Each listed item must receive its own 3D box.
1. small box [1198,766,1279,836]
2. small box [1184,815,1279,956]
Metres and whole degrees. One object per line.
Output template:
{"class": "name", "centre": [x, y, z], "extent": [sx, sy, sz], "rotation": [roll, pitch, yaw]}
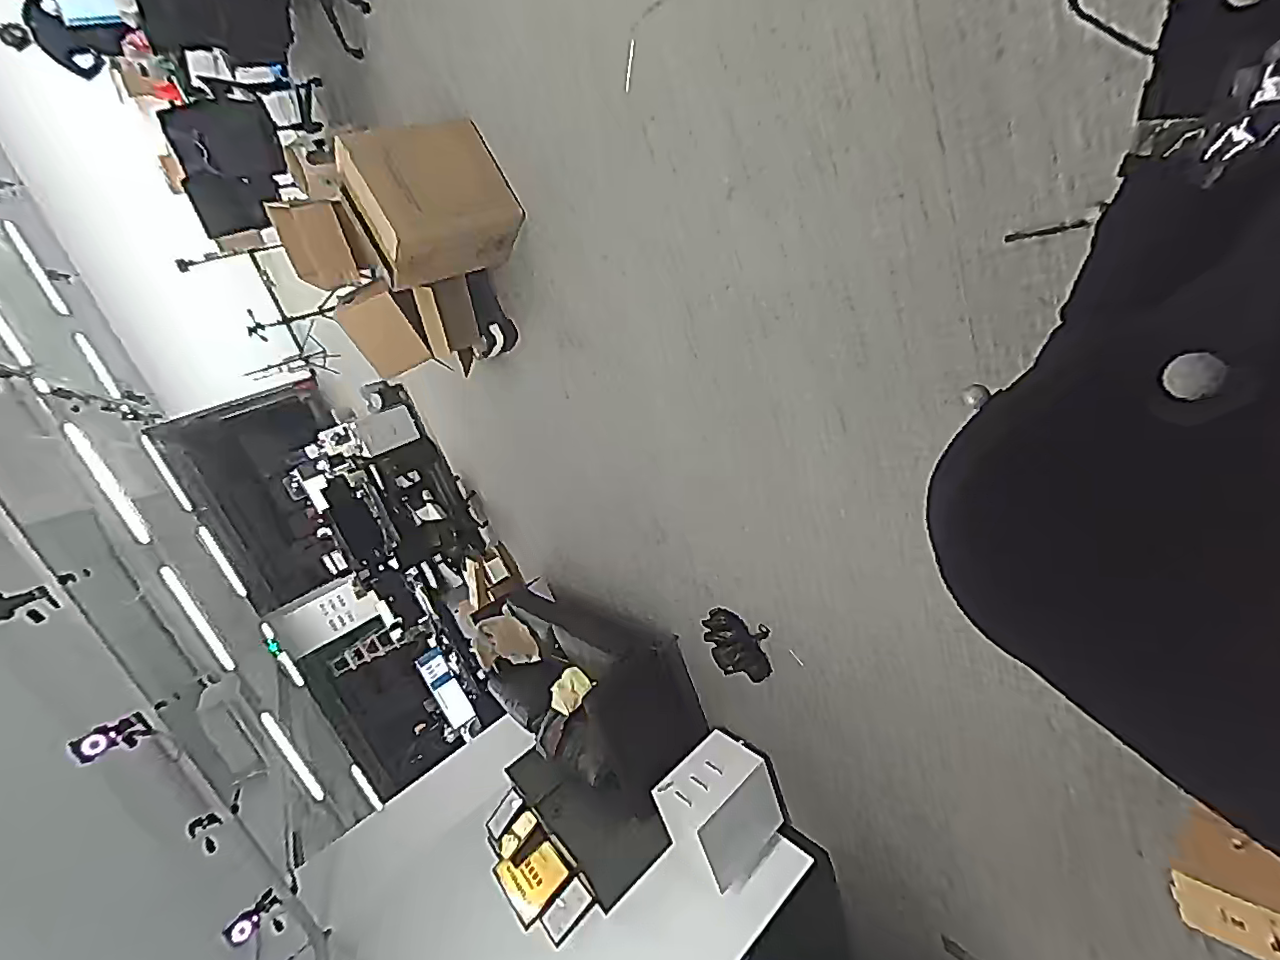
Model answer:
{"class": "small box", "centre": [1.456, 0.804, 1.252], "extent": [0.179, 0.176, 0.168], "rotation": [-11, 107, 60]}
{"class": "small box", "centre": [1.332, 0.873, 1.170], "extent": [0.179, 0.176, 0.168], "rotation": [-2, 115, 58]}
